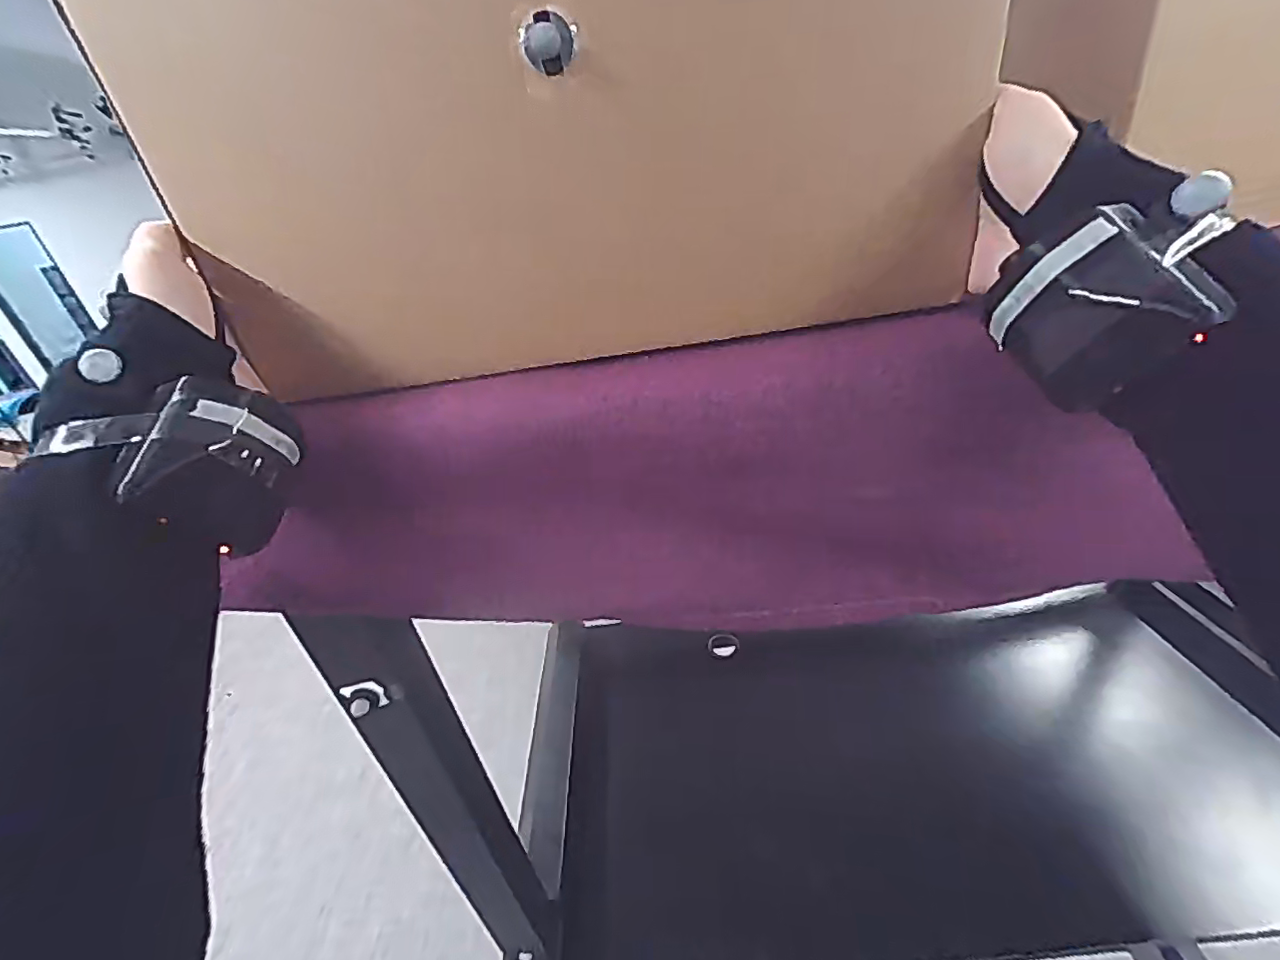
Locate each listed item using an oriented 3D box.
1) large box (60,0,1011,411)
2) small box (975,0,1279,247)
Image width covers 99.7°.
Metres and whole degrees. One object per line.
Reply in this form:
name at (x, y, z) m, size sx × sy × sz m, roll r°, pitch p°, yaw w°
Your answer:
large box at (-0.043, -0.272, 0.360) m, size 0.408 × 0.320 × 0.320 m, roll -9°, pitch 29°, yaw 3°
small box at (0.348, -0.270, 0.371) m, size 0.179 × 0.176 × 0.168 m, roll -12°, pitch 28°, yaw -1°
